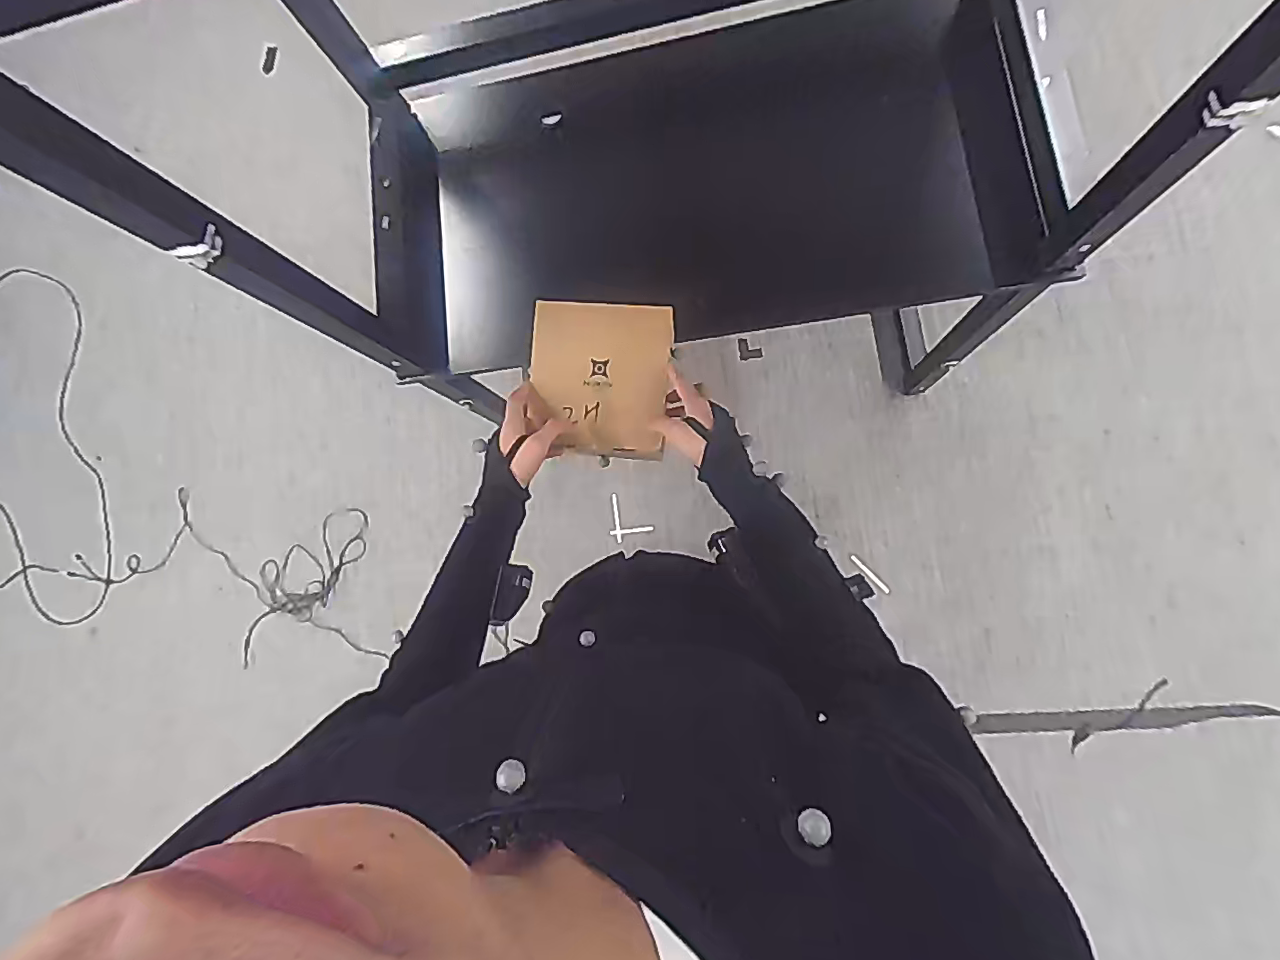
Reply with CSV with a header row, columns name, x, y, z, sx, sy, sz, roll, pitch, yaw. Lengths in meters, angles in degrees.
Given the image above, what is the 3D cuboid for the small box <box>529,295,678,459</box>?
name,x,y,z,sx,sy,sz,roll,pitch,yaw
small box,-0.039,-0.126,0.717,0.168,0.176,0.179,4,89,5
